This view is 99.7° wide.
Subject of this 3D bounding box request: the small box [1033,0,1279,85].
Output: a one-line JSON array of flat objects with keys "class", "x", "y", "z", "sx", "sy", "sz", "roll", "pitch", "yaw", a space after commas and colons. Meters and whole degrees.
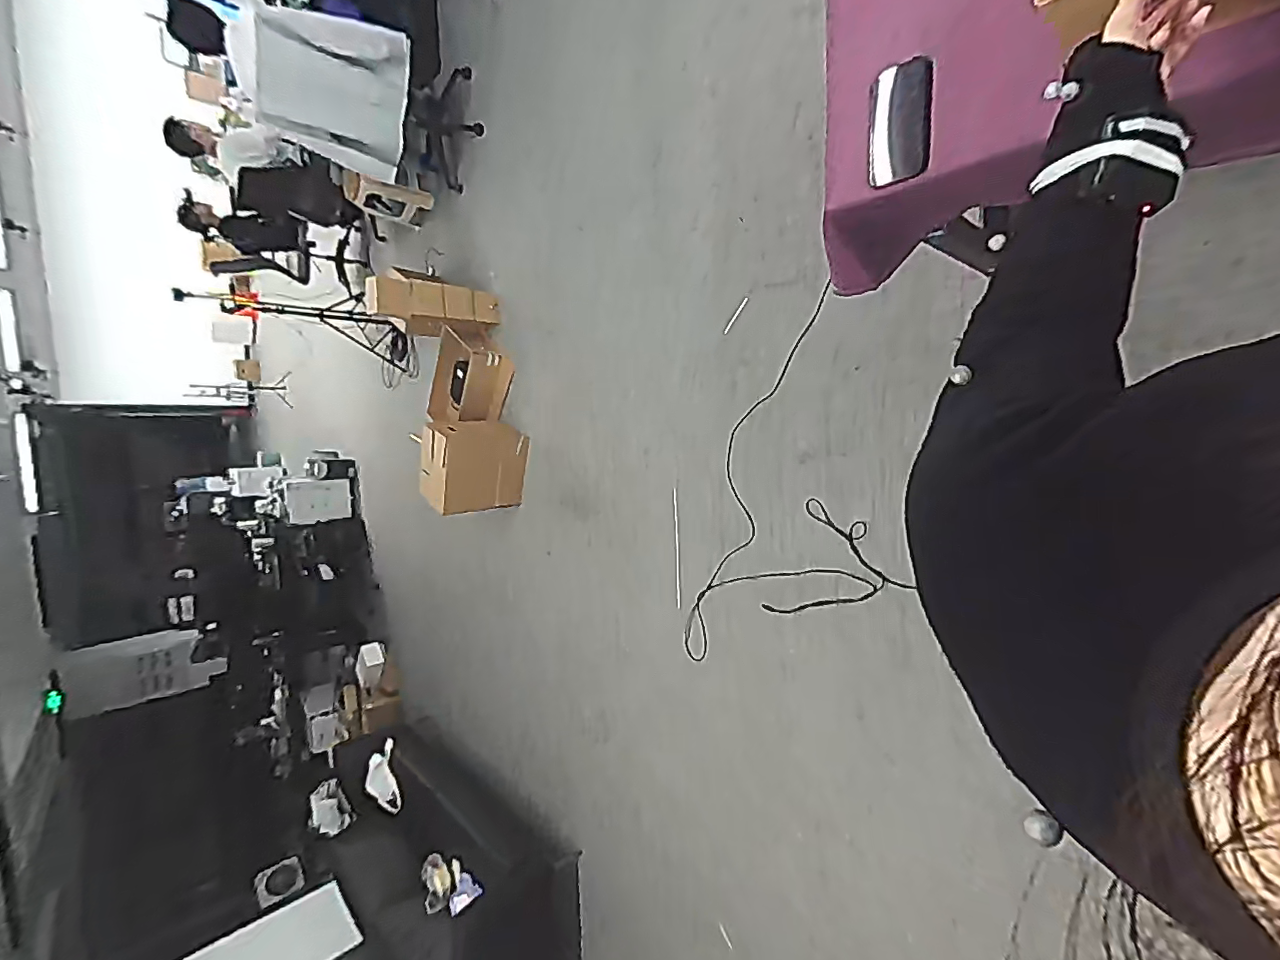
[{"class": "small box", "x": 0.488, "y": -0.521, "z": 0.499, "sx": 0.168, "sy": 0.176, "sz": 0.179, "roll": 9, "pitch": 101, "yaw": 46}]
